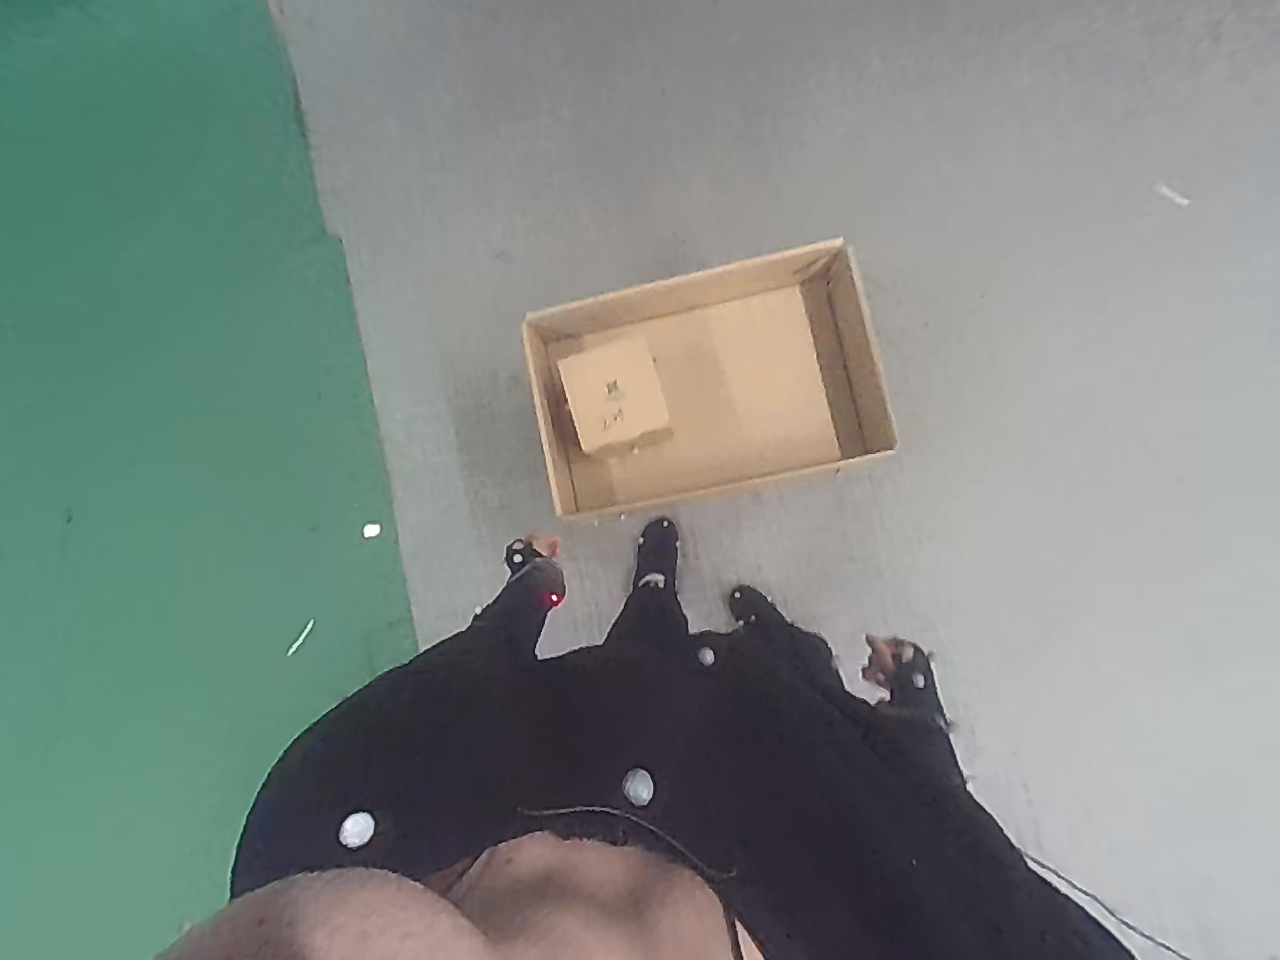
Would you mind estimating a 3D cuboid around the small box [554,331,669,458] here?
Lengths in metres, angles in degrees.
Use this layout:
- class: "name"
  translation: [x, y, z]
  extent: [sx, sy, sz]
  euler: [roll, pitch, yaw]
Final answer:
- class: "small box"
  translation: [-0.047, -0.151, 1.017]
  extent: [0.168, 0.176, 0.179]
  euler: [-17, 85, 4]
